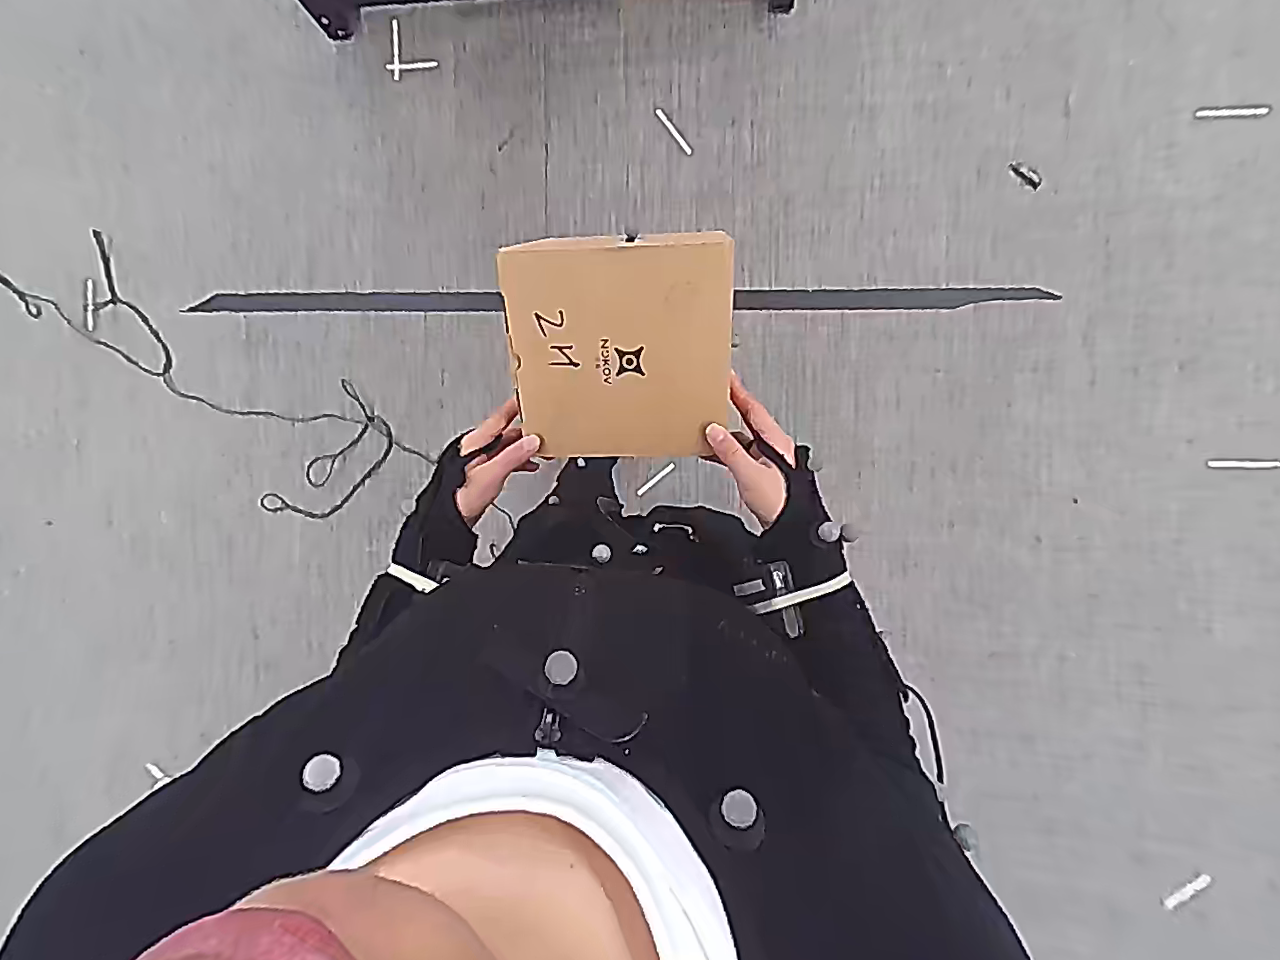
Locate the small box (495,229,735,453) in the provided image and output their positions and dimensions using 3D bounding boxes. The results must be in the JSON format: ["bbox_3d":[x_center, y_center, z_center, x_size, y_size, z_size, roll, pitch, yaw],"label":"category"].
[{"bbox_3d":[-0.011,-0.132,0.490,0.179,0.176,0.168,0,116,6],"label":"small box"}]
